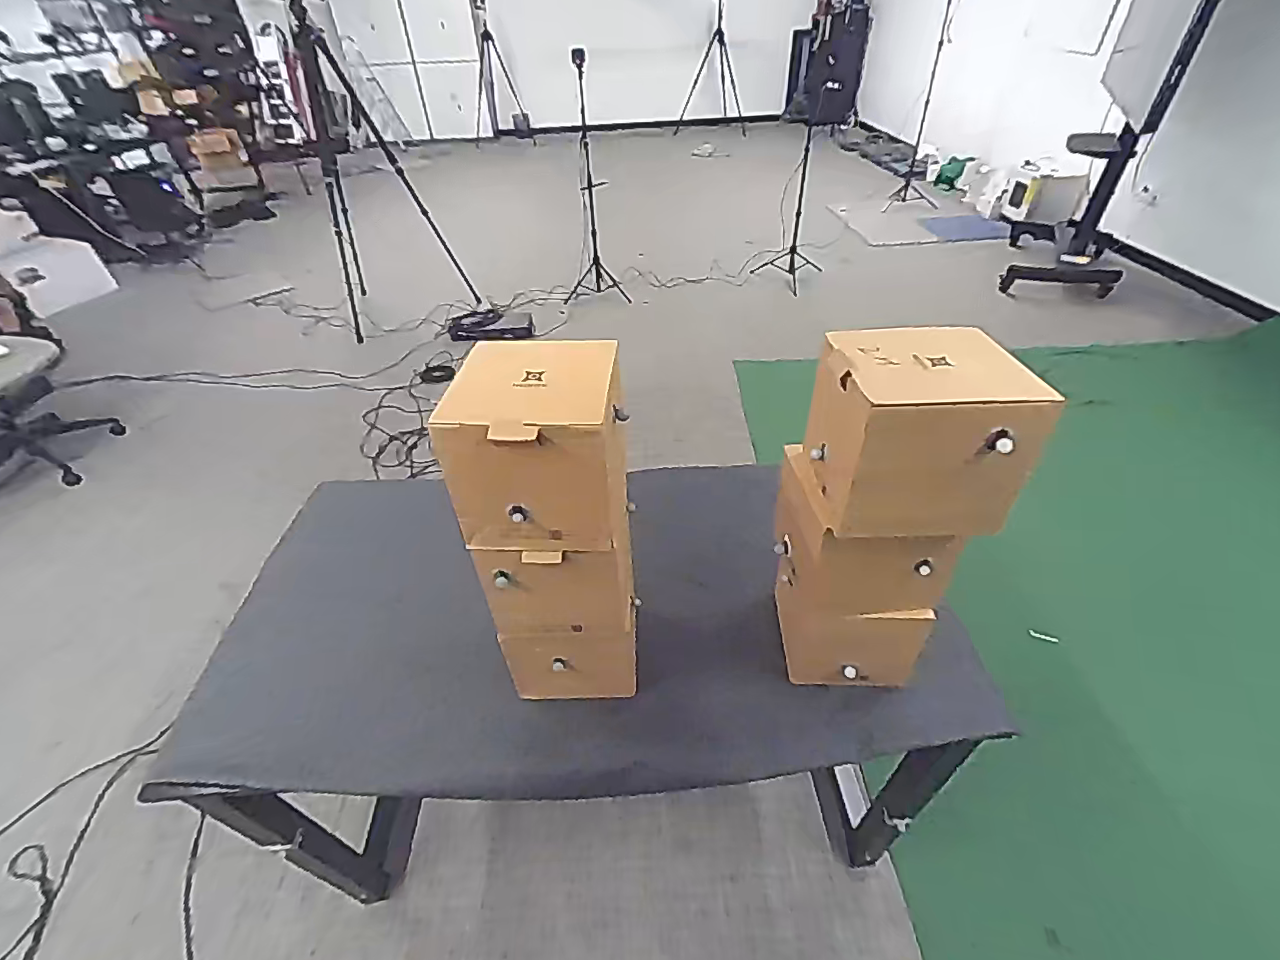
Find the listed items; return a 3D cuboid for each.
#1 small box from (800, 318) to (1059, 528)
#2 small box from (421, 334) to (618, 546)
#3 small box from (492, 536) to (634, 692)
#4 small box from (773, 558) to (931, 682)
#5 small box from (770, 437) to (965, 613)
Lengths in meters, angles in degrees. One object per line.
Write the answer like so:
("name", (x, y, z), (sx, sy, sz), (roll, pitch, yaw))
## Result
("small box", (0.288, -0.061, 0.588), (0.179, 0.176, 0.168), (-2, 38, 2))
("small box", (-0.114, -0.048, 0.602), (0.168, 0.176, 0.179), (0, 40, 3))
("small box", (-0.103, 0.203, 0.813), (0.179, 0.176, 0.168), (-3, 41, 2))
("small box", (0.300, 0.177, 0.812), (0.168, 0.176, 0.179), (0, 40, 4))
("small box", (0.282, 0.053, 0.709), (0.179, 0.176, 0.168), (-6, 38, -1))
